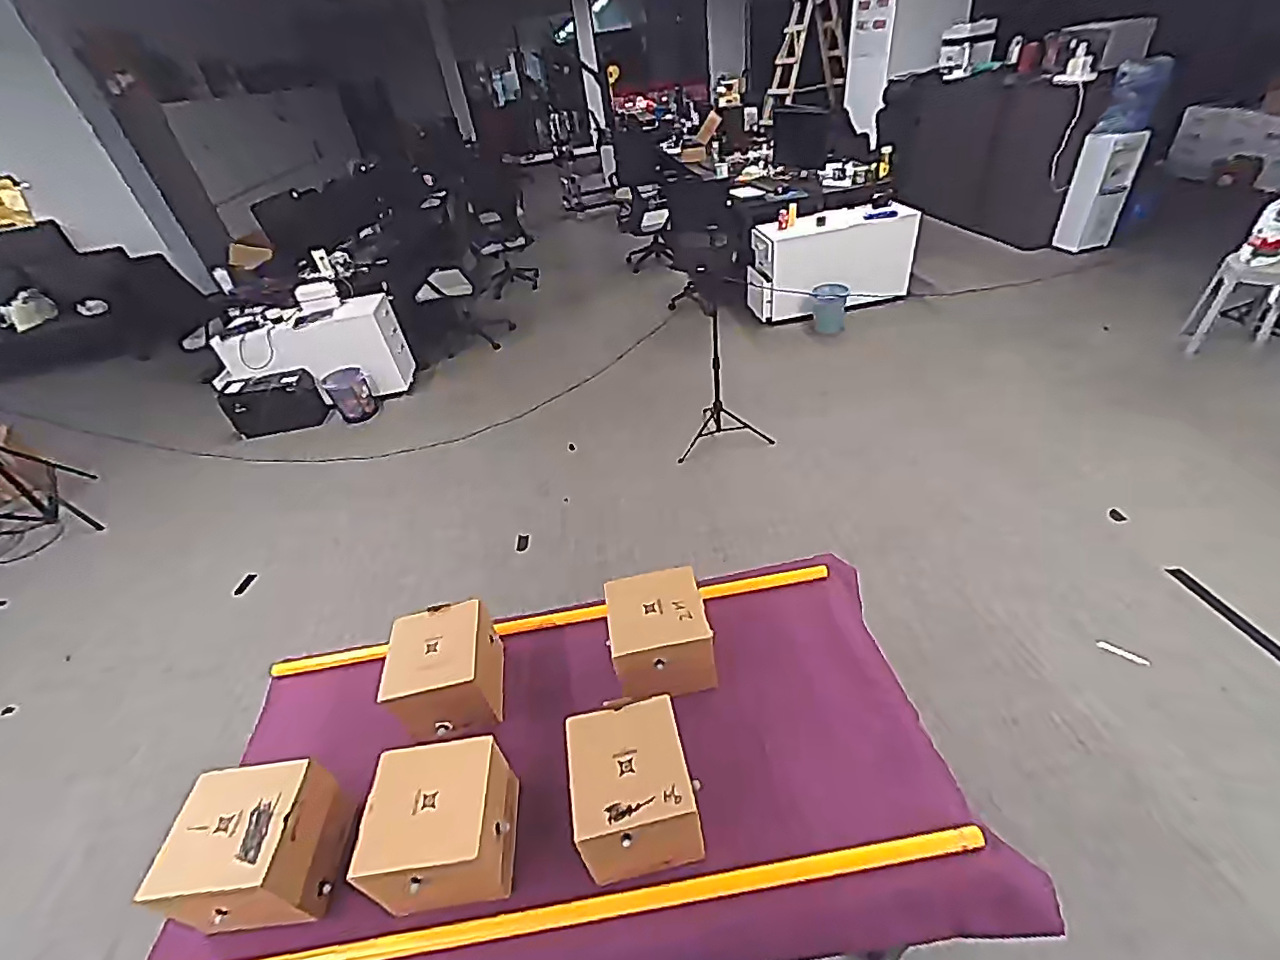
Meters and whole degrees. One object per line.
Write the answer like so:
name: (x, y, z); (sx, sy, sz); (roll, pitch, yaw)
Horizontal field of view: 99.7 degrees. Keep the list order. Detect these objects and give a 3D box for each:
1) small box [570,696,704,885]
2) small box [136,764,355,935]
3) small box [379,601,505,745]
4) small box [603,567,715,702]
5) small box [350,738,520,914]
small box: (-0.007, 0.464, 0.814); (0.168, 0.176, 0.179); (-12, 36, -3)
small box: (-0.568, 0.555, 0.814); (0.179, 0.176, 0.168); (-8, 38, 2)
small box: (-0.360, 0.362, 1.018); (0.168, 0.176, 0.179); (-13, 39, -3)
small box: (0.036, 0.294, 1.019); (0.179, 0.176, 0.168); (-11, 40, -1)
small box: (-0.287, 0.517, 0.808); (0.179, 0.176, 0.168); (-10, 38, 1)
